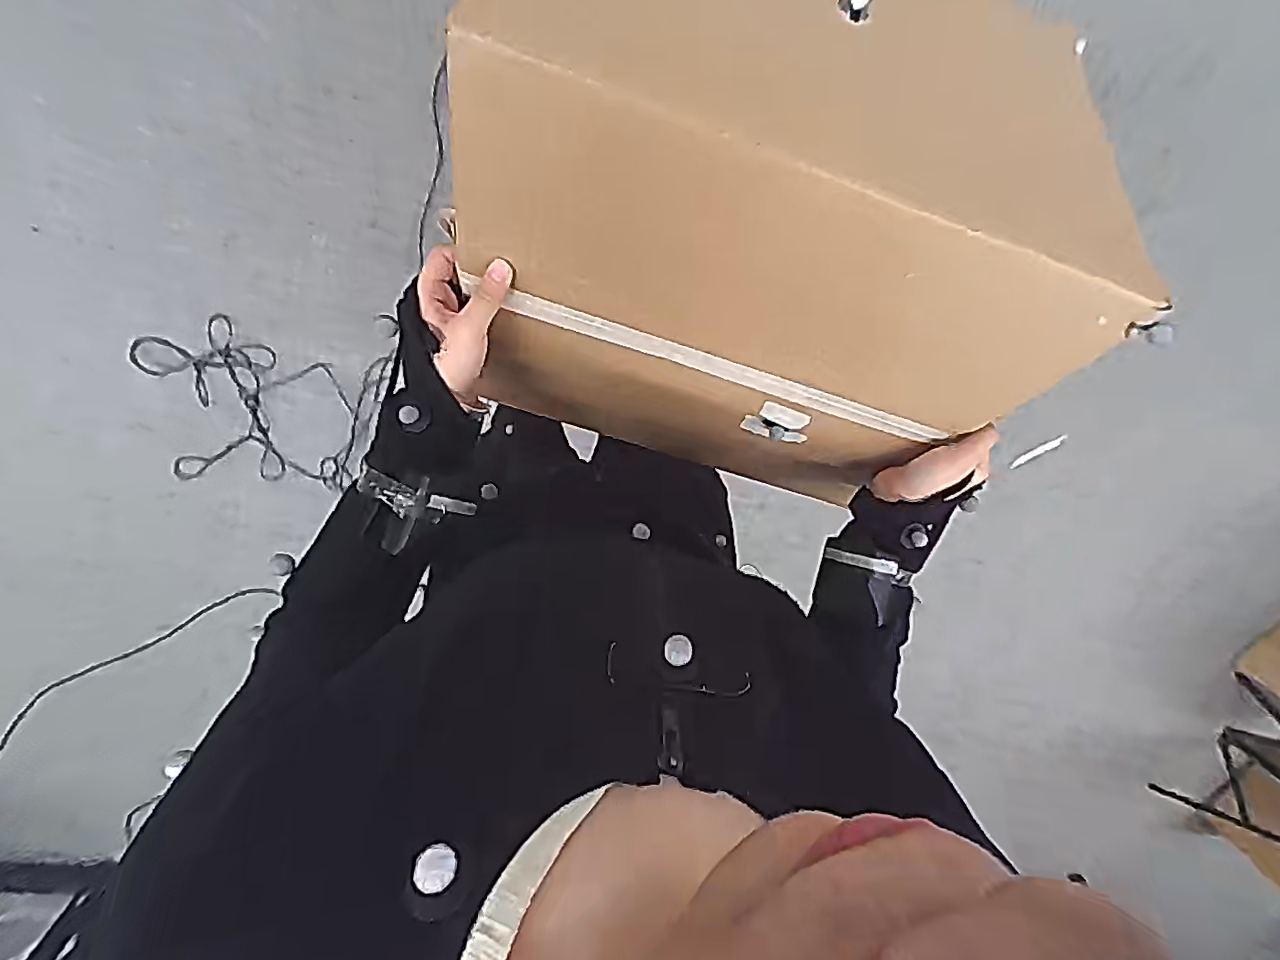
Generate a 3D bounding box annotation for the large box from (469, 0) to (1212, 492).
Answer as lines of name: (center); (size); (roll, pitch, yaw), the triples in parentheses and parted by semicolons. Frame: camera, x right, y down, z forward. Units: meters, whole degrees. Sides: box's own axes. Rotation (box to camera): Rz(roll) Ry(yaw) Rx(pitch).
large box: (0.104, -0.231, 0.462); (0.408, 0.320, 0.320); (15, 153, -8)
